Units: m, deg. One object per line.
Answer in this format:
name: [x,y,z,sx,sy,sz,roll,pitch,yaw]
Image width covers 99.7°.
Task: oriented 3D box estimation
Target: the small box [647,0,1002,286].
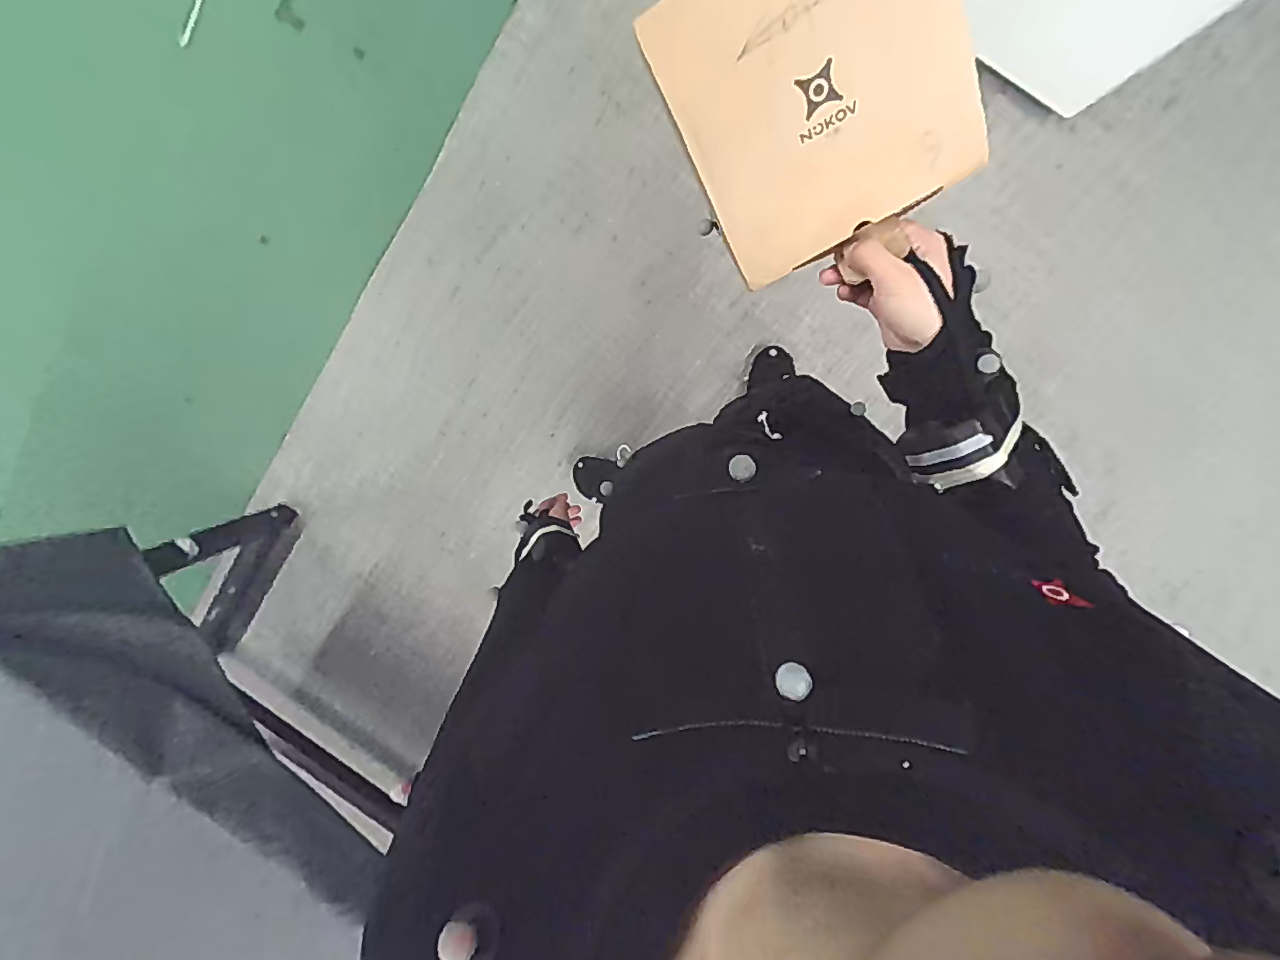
small box: [0.119,-0.276,0.389,0.168,0.176,0.179,-25,119,17]
